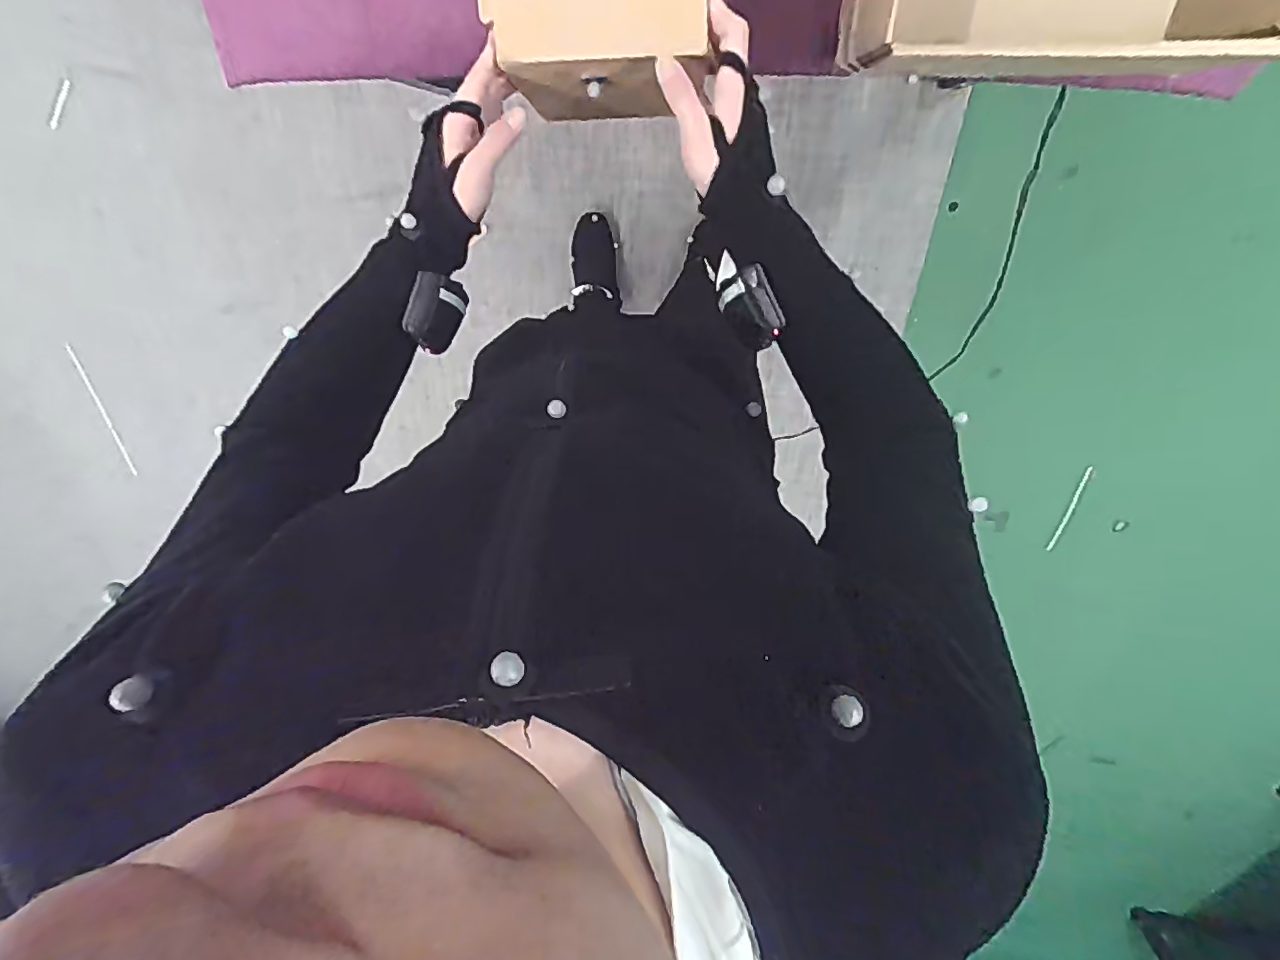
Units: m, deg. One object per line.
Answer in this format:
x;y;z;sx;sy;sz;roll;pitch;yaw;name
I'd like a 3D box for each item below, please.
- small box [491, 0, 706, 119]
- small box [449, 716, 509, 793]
-0.029;-0.446;0.491;0.179;0.176;0.168;0;110;4;small box
-0.568;0.966;1.915;0.168;0.176;0.179;9;118;0;small box
